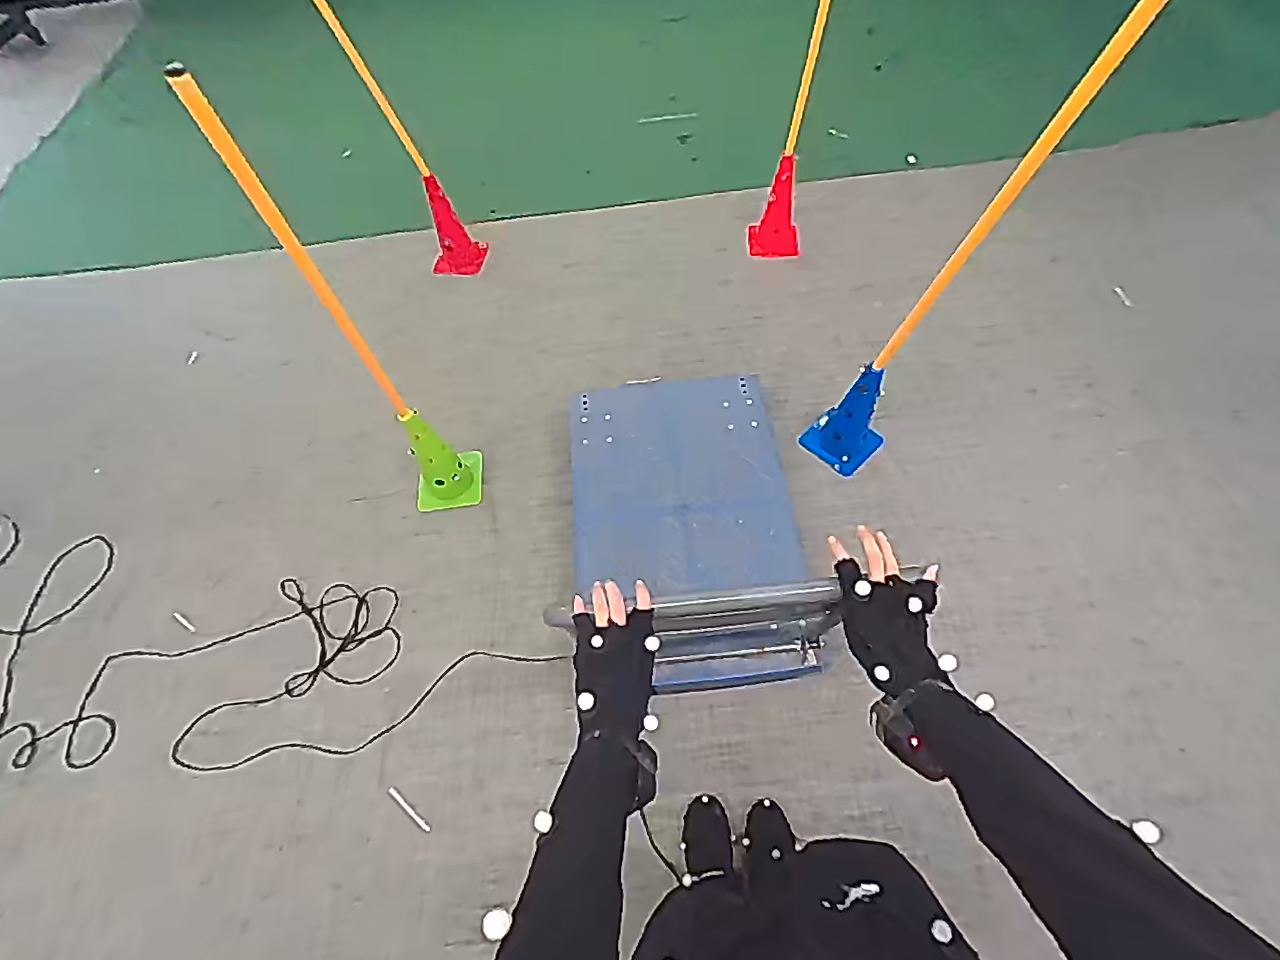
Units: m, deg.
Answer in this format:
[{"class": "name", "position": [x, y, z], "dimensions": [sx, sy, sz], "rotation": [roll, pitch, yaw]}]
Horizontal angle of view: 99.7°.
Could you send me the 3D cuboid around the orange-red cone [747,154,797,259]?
[{"class": "orange-red cone", "position": [0.527, -1.052, 2.060], "dimensions": [0.198, 0.360, 0.199], "rotation": [2, 61, 6]}]
